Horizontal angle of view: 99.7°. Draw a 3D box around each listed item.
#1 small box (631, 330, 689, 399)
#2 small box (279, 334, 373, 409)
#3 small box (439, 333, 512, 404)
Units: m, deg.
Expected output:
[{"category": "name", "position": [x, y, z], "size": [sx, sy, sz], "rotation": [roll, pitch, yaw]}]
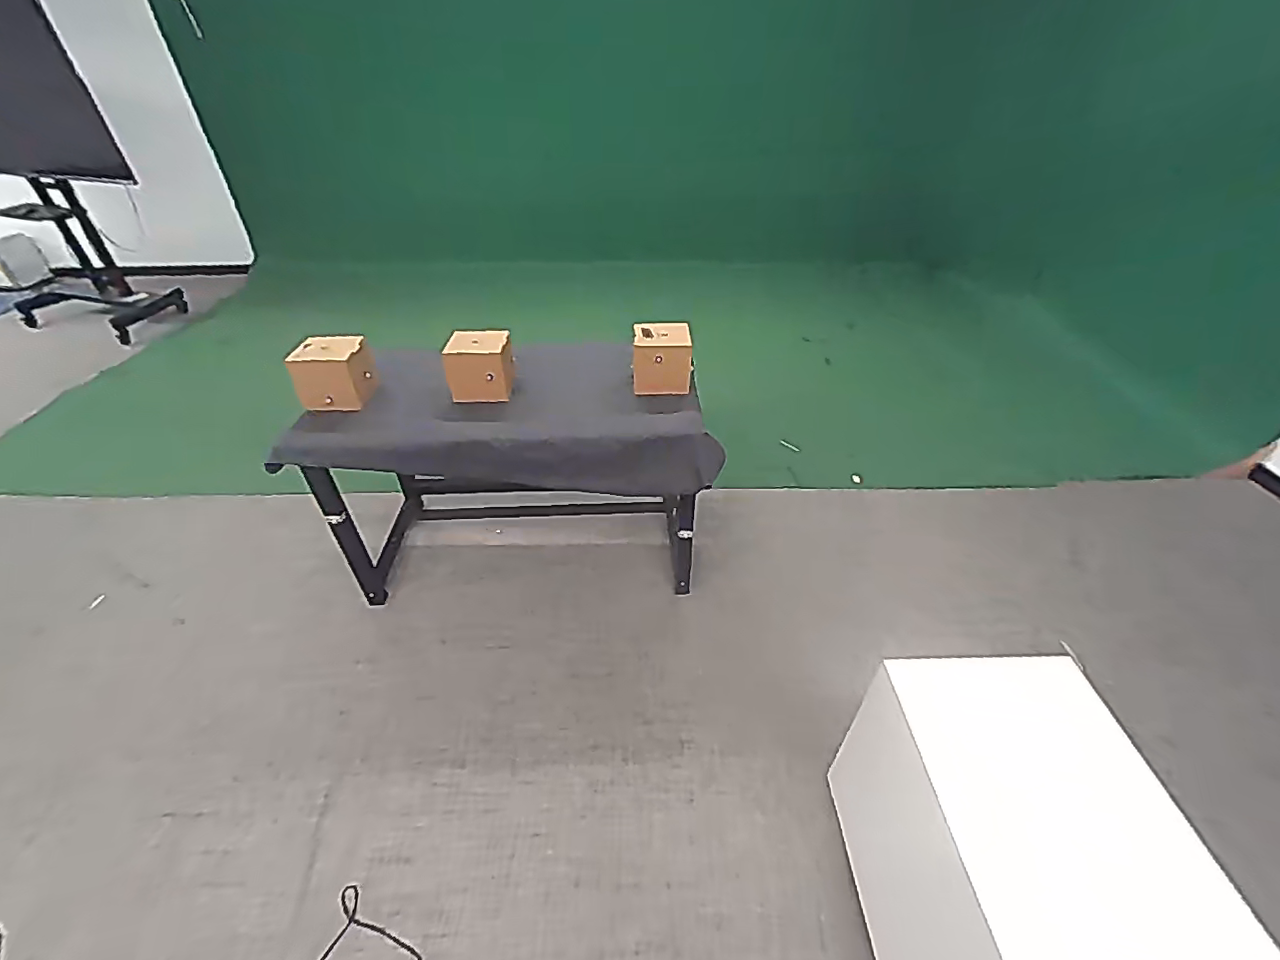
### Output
[{"category": "small box", "position": [0.059, -0.369, 1.730], "size": [0.179, 0.176, 0.168], "rotation": [1, 38, -1]}, {"category": "small box", "position": [-0.942, -0.328, 1.644], "size": [0.179, 0.176, 0.168], "rotation": [1, 37, -3]}, {"category": "small box", "position": [-0.505, -0.348, 1.691], "size": [0.179, 0.176, 0.168], "rotation": [-1, 37, -1]}]
